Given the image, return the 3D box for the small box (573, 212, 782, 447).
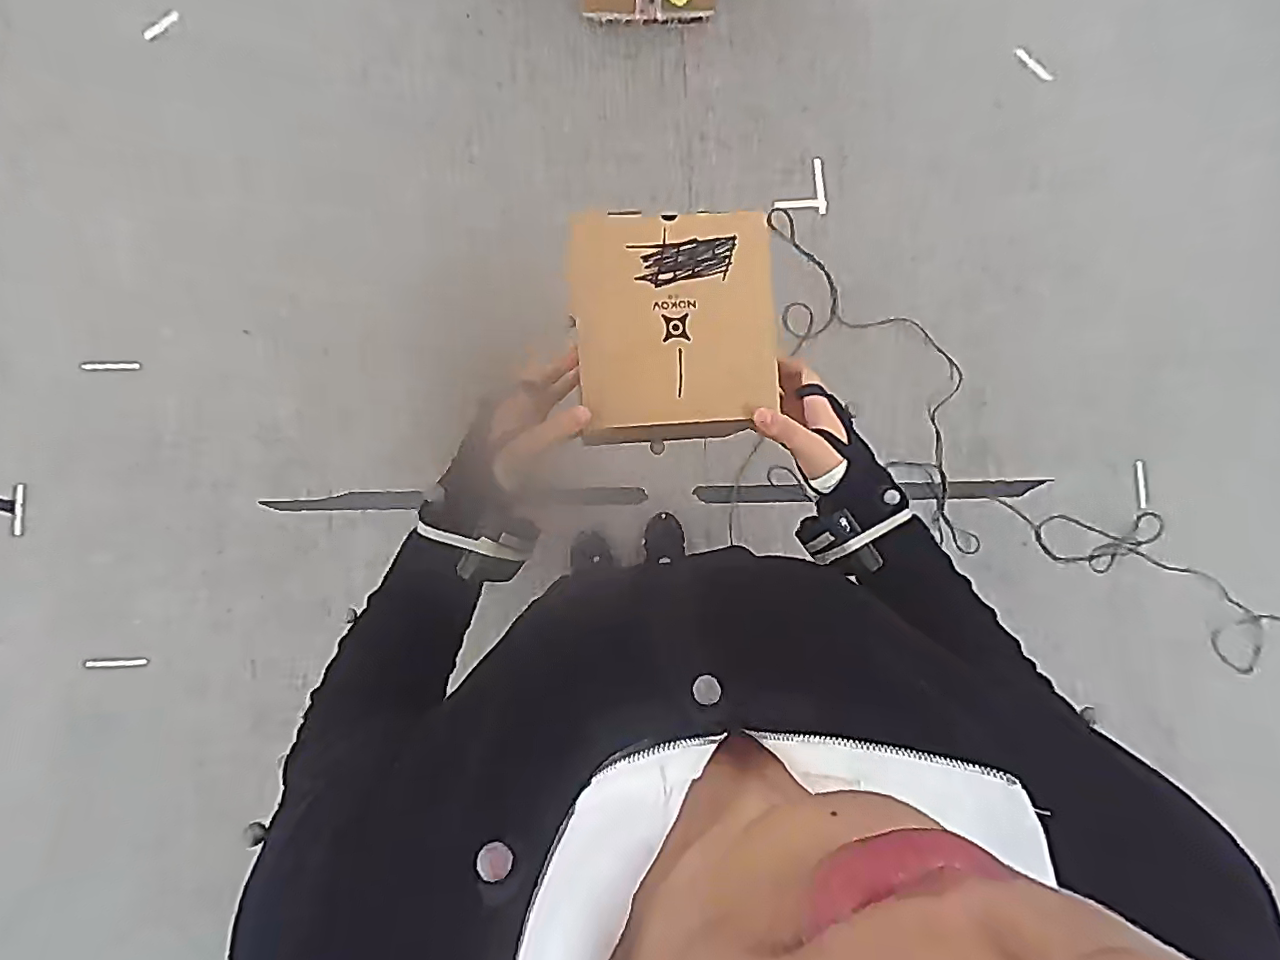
[{"bbox_3d":[0.023,-0.130,0.519,0.168,0.176,0.179,-4,90,-6],"label":"small box"}]
